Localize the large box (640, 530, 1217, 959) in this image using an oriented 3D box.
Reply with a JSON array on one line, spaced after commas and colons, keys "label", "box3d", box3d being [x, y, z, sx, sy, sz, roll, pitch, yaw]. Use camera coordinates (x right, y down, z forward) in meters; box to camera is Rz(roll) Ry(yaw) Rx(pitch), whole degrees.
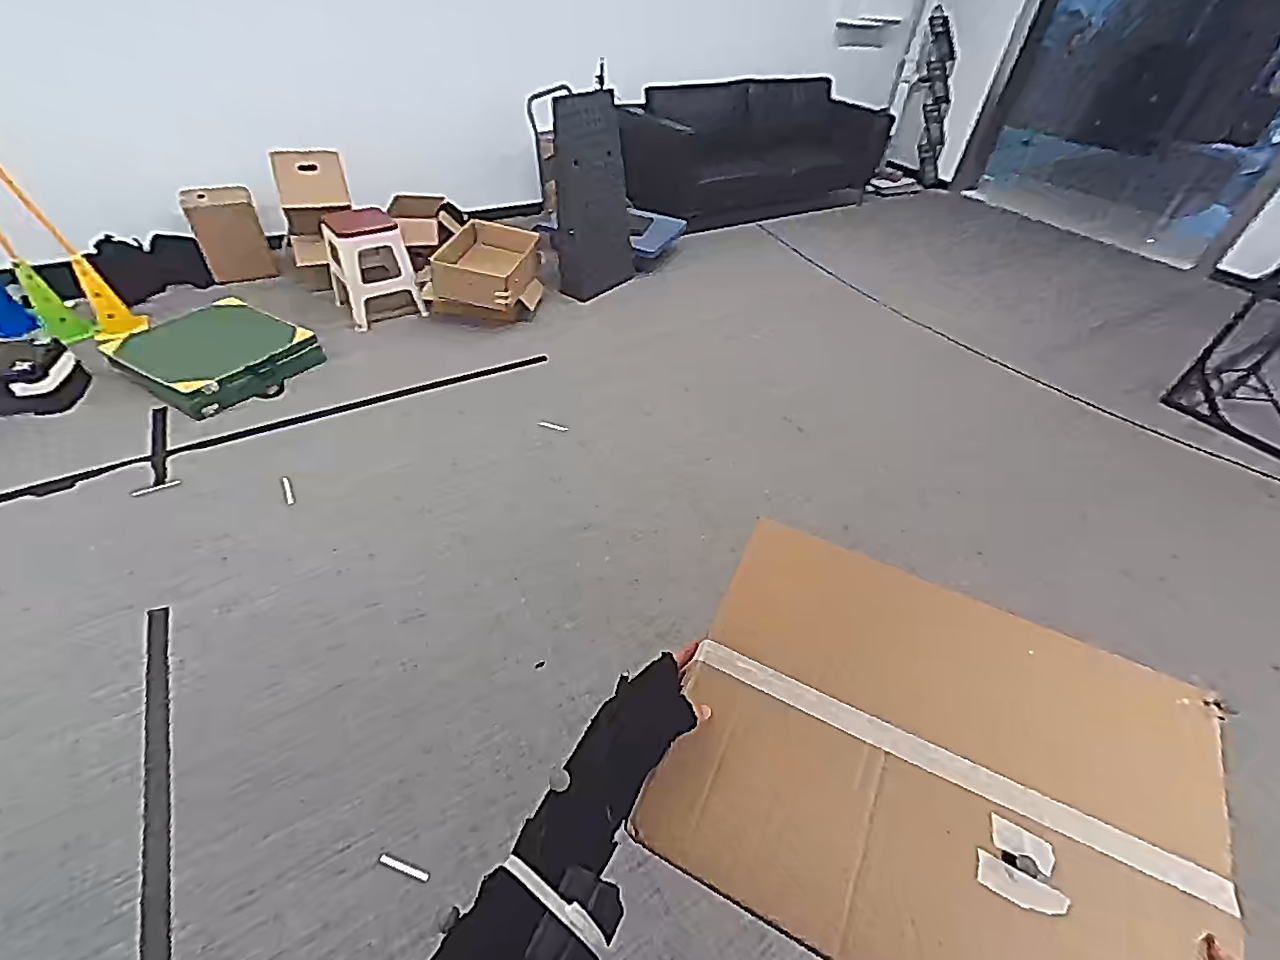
[{"label": "large box", "box3d": [0.242, 0.315, 0.572, 0.408, 0.320, 0.320, 22, 60, 16]}]
